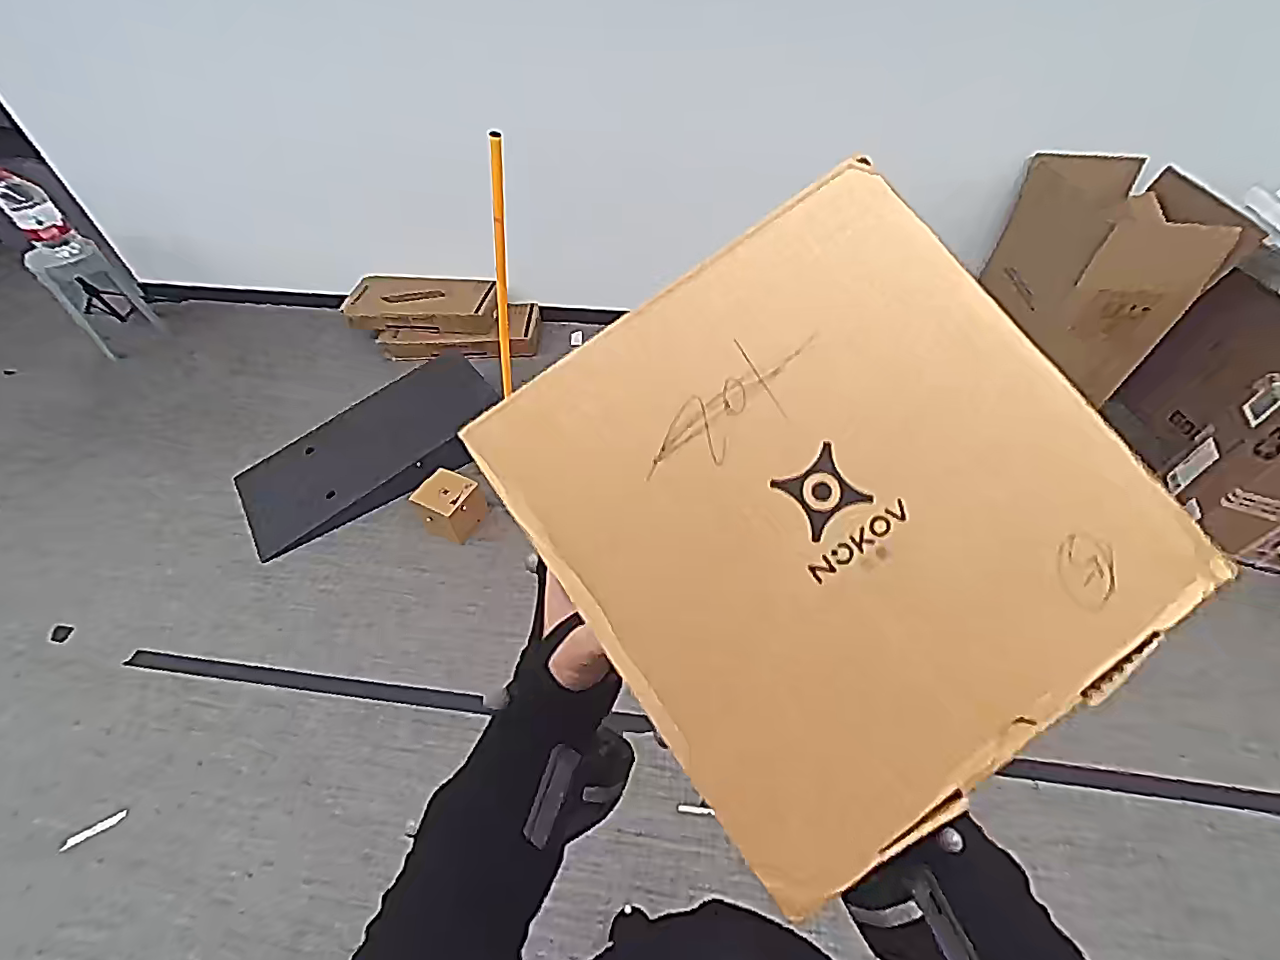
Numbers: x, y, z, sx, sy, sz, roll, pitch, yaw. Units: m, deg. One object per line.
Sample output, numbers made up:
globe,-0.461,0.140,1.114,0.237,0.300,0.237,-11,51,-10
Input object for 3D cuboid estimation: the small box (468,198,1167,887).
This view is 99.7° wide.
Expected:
small box,0.058,0.023,0.259,0.168,0.176,0.179,-36,80,-4
